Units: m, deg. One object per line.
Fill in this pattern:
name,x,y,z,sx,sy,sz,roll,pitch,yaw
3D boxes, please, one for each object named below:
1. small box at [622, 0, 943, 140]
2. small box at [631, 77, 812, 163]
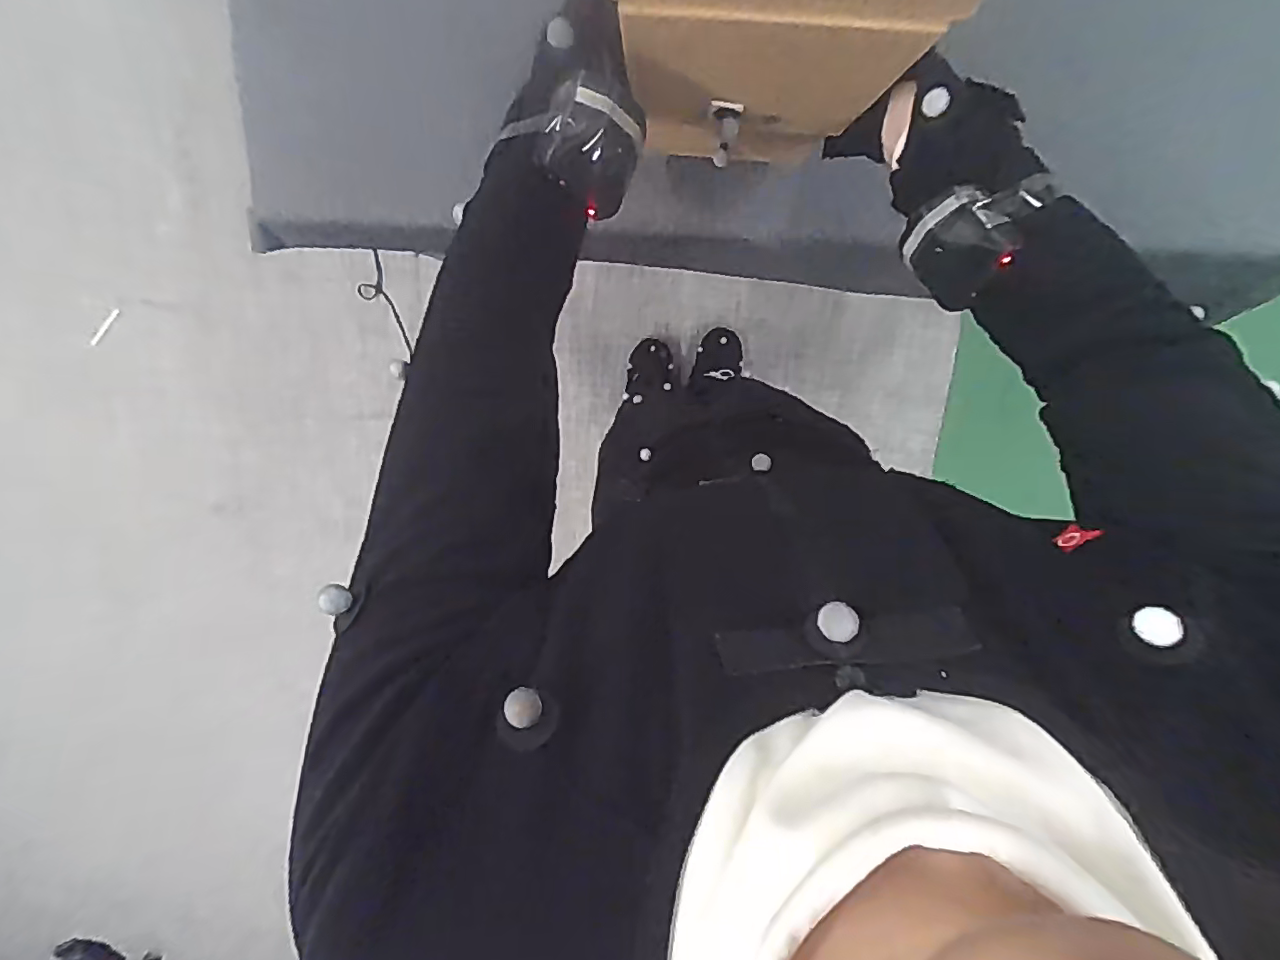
small box,0.078,-0.336,0.326,0.168,0.176,0.179,4,107,1
small box,0.085,-0.397,0.478,0.179,0.176,0.168,4,106,0
